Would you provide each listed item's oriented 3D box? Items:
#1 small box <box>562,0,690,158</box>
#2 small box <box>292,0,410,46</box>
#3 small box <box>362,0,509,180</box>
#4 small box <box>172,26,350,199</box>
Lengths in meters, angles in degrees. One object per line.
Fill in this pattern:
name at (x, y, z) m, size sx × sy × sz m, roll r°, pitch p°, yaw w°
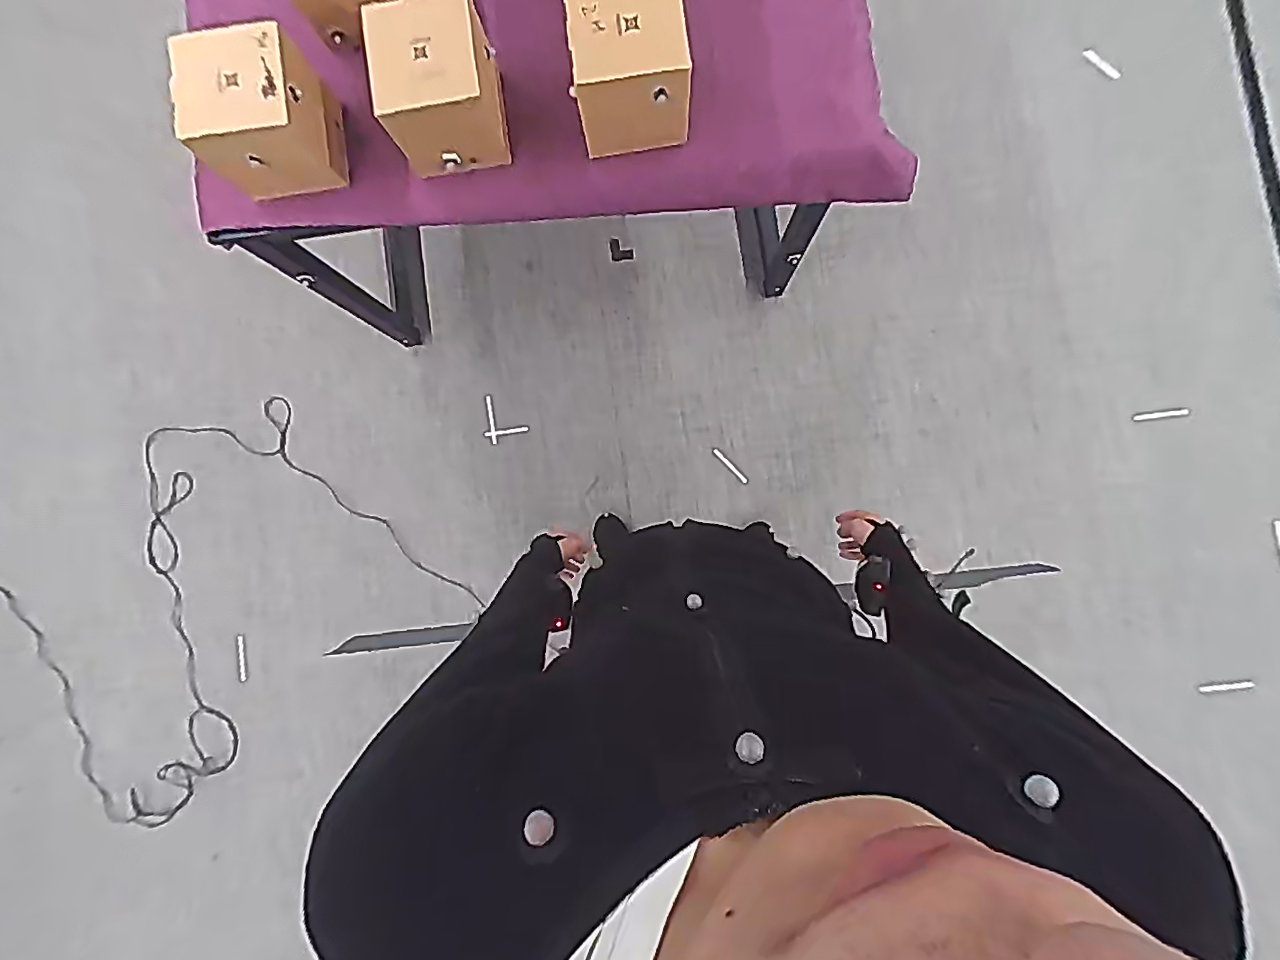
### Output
small box at (-0.019, -0.661, 0.877) m, size 0.179 × 0.176 × 0.168 m, roll -7°, pitch 86°, yaw 3°
small box at (-0.502, -0.878, 0.911) m, size 0.168 × 0.176 × 0.179 m, roll -8°, pitch 87°, yaw 2°
small box at (-0.327, -0.636, 0.893) m, size 0.168 × 0.176 × 0.179 m, roll -8°, pitch 89°, yaw 3°
small box at (-0.620, -0.596, 0.901) m, size 0.179 × 0.176 × 0.168 m, roll -7°, pitch 88°, yaw 3°
